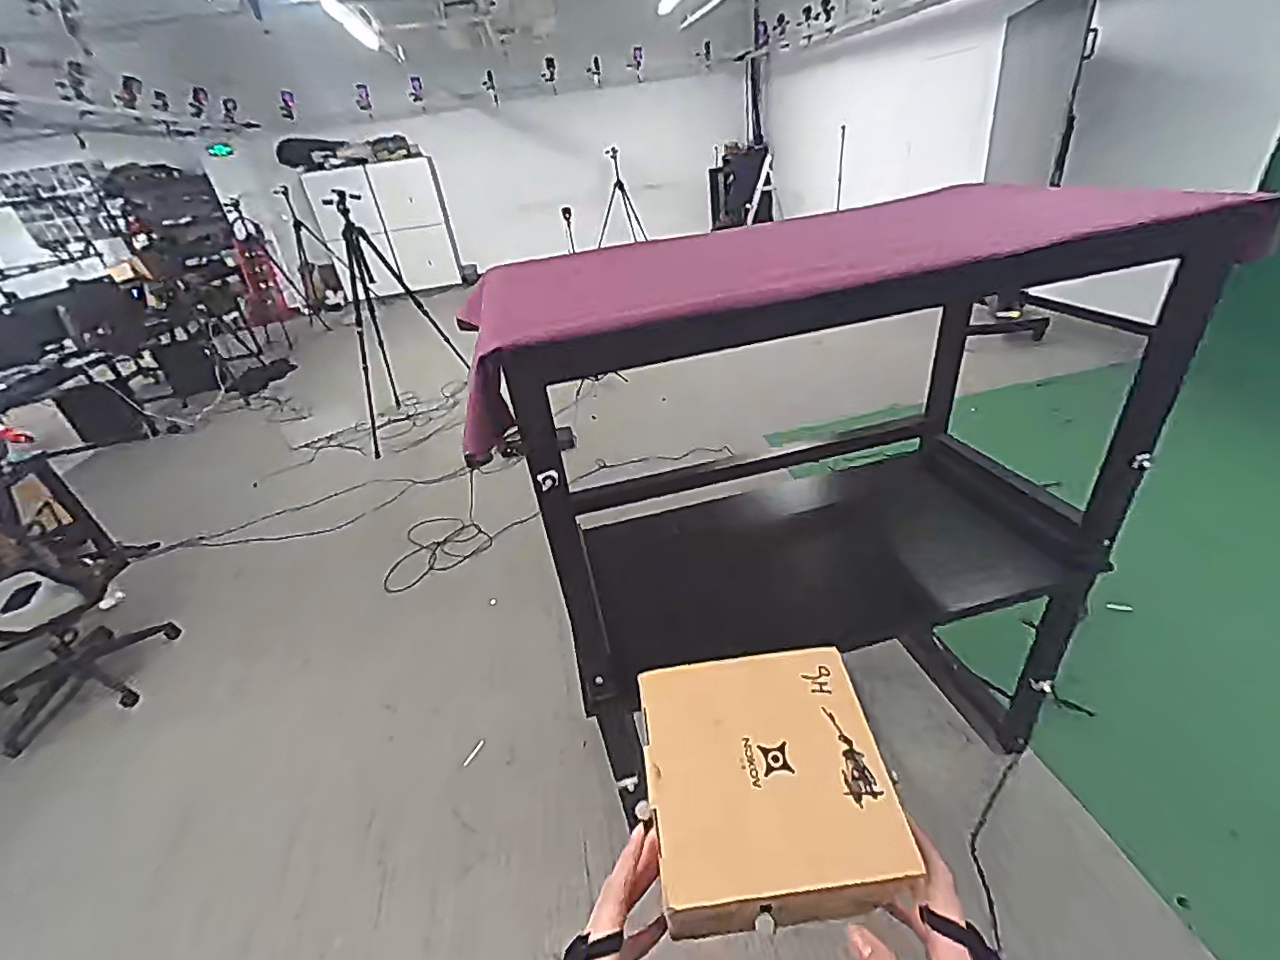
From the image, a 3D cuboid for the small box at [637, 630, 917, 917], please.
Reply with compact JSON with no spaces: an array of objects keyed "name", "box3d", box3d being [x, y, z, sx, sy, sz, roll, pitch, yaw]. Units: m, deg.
[{"name":"small box","box3d":[0.098,0.254,0.466,0.179,0.176,0.168,-7,45,-1]}]
